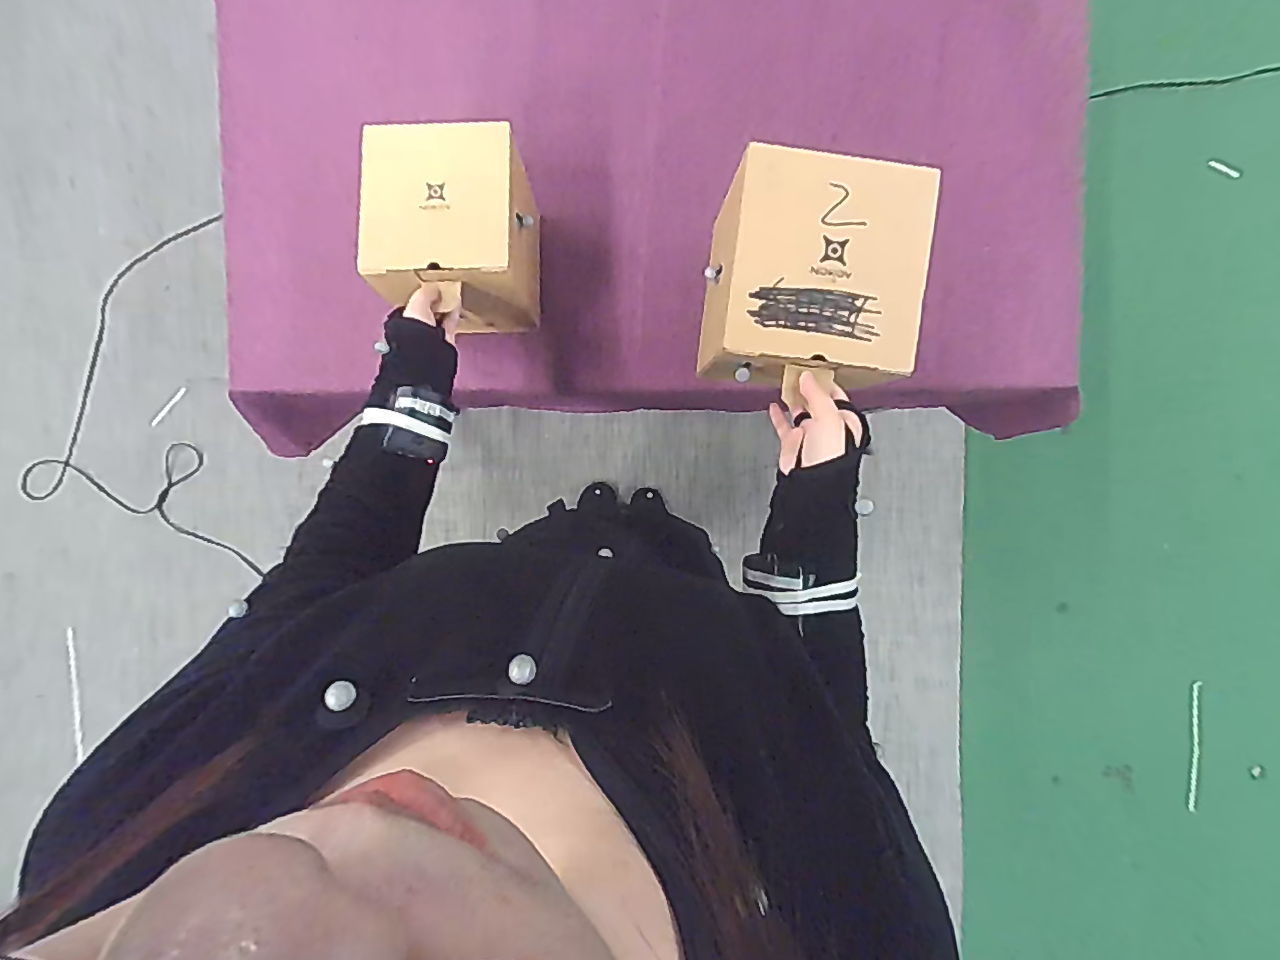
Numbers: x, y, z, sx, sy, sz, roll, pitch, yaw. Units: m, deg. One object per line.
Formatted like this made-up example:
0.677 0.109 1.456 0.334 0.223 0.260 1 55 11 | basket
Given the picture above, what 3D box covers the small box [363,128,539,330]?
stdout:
-0.225 -0.306 0.686 0.168 0.176 0.179 -1 84 0 | small box
